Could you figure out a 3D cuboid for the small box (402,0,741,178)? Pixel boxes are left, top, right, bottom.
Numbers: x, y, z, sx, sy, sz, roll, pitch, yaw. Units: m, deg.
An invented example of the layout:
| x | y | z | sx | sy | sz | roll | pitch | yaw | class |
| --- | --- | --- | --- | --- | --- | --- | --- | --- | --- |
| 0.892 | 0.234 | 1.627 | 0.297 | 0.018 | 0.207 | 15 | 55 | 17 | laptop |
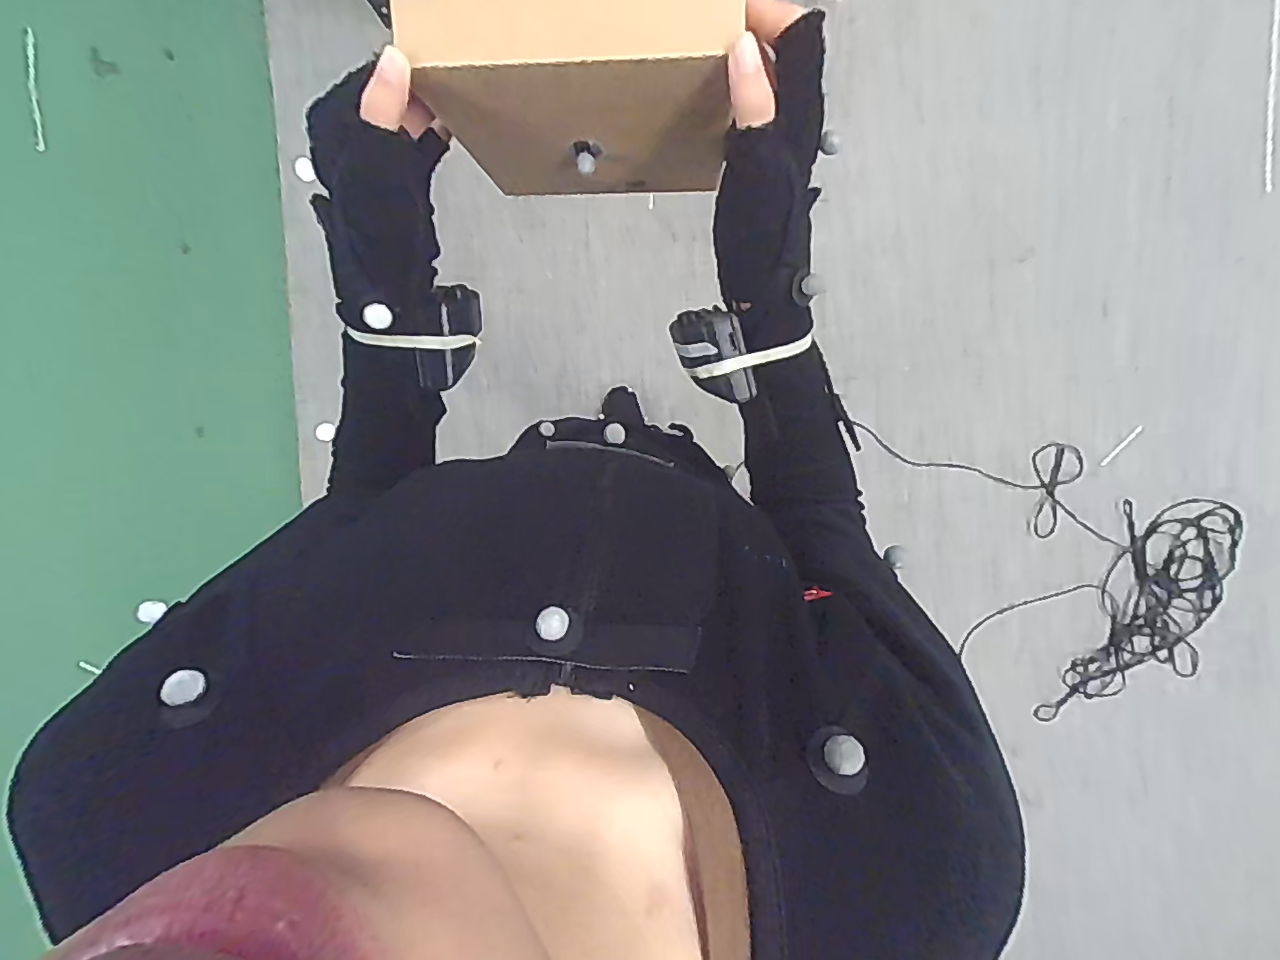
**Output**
| x | y | z | sx | sy | sz | roll | pitch | yaw | class |
| --- | --- | --- | --- | --- | --- | --- | --- | --- | --- |
| -0.028 | -0.300 | 0.325 | 0.168 | 0.176 | 0.179 | 0 | 99 | 3 | small box |
